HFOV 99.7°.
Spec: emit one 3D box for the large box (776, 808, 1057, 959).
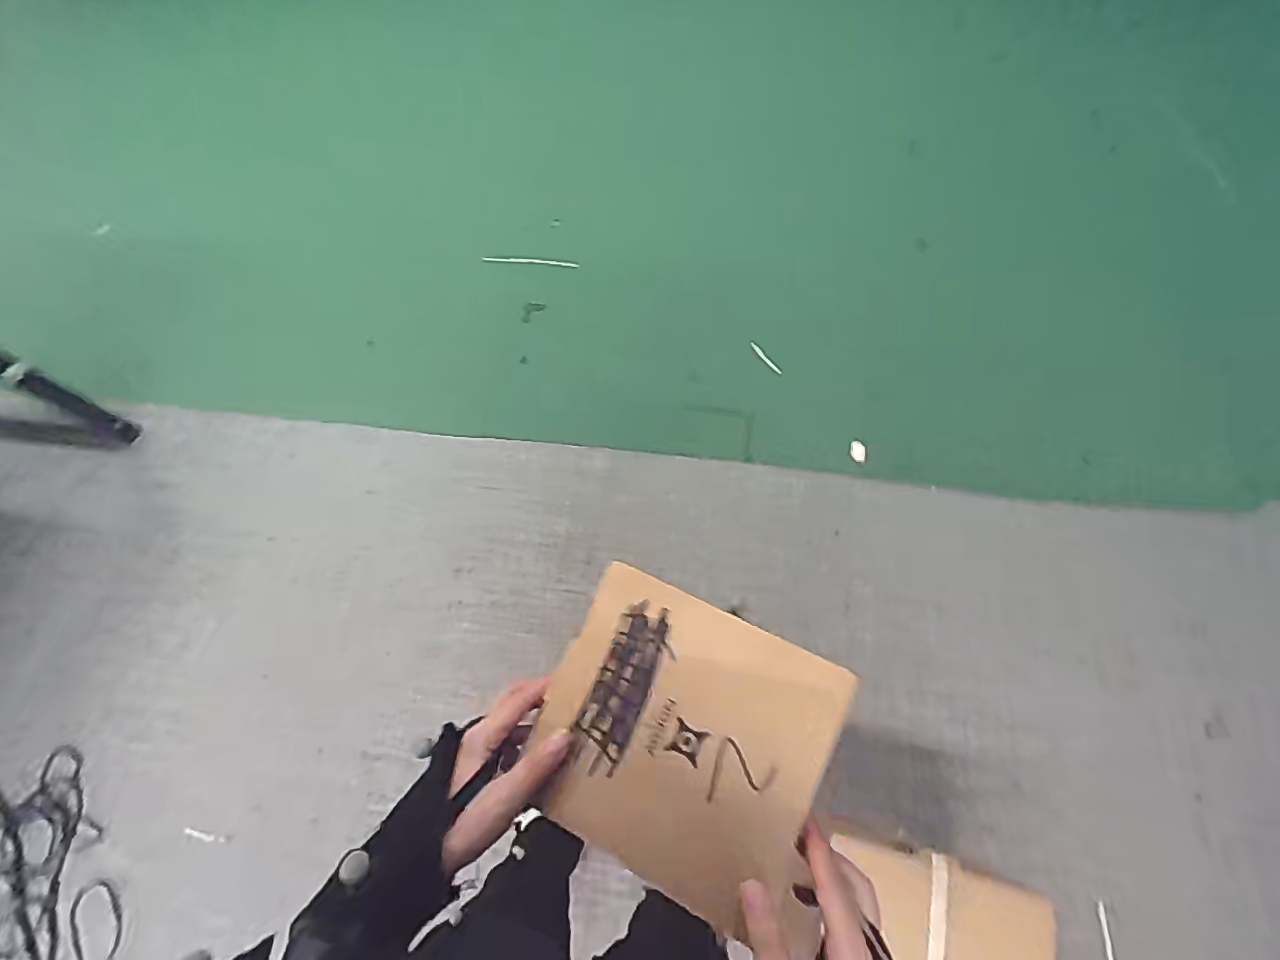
[{"bbox_3d":[0.398,0.799,0.847,0.320,0.320,0.408,12,68,11],"label":"large box"}]
